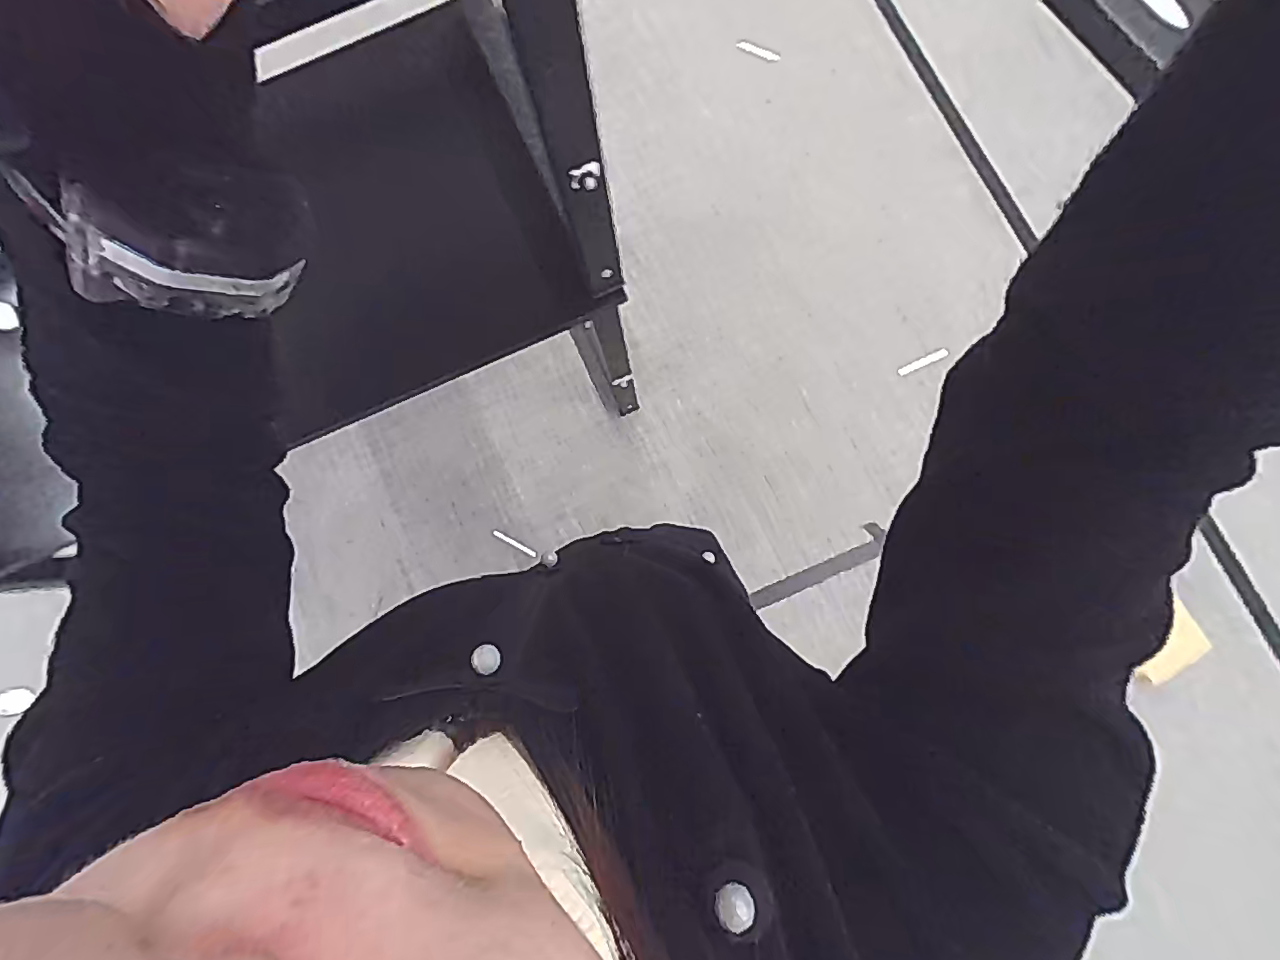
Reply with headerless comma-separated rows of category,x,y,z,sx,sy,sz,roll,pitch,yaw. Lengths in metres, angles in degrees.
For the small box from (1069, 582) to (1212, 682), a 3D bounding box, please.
small box,1.232,0.373,1.354,0.179,0.176,0.168,-31,84,-2
